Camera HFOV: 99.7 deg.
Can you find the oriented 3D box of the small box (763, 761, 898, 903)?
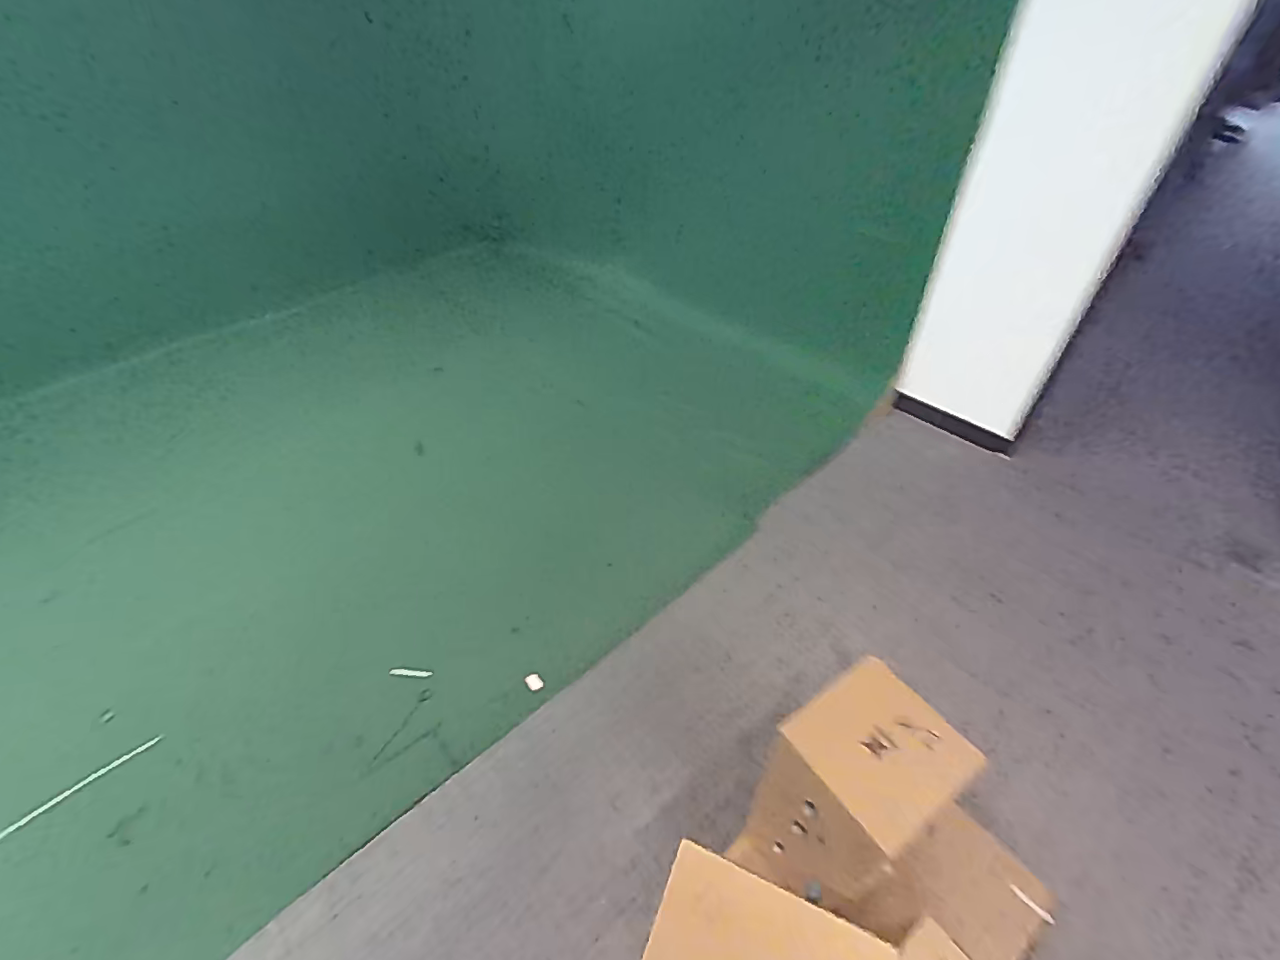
[{"bbox_3d":[0.305,0.484,0.815,0.168,0.176,0.179,-31,48,-26],"label":"small box"}]

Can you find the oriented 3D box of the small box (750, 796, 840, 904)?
[{"bbox_3d":[0.310,0.599,0.937,0.179,0.176,0.168,-30,50,-26],"label":"small box"}]

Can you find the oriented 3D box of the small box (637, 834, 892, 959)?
[{"bbox_3d":[0.086,0.415,0.431,0.168,0.176,0.179,13,61,23],"label":"small box"}]

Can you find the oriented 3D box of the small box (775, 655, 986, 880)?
[{"bbox_3d":[0.293,0.371,0.699,0.179,0.176,0.168,-26,48,-22],"label":"small box"}]
